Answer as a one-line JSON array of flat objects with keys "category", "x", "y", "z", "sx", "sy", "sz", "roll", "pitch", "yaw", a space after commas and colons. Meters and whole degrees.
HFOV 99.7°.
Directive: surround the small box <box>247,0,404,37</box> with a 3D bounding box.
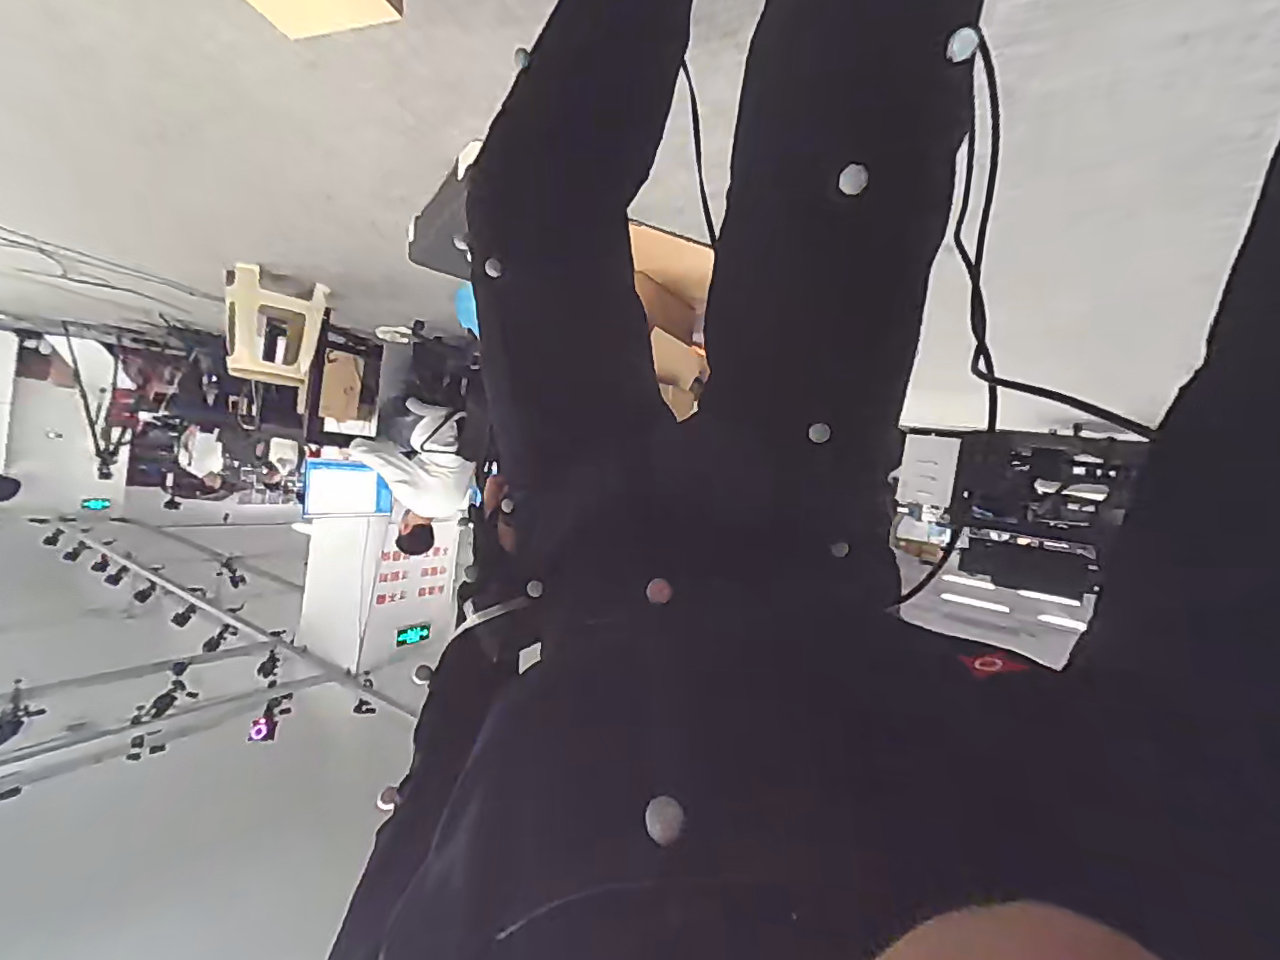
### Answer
[{"category": "small box", "x": -0.337, "y": -0.578, "z": 0.511, "sx": 0.168, "sy": 0.176, "sz": 0.179, "roll": 8, "pitch": -179, "yaw": 19}]
